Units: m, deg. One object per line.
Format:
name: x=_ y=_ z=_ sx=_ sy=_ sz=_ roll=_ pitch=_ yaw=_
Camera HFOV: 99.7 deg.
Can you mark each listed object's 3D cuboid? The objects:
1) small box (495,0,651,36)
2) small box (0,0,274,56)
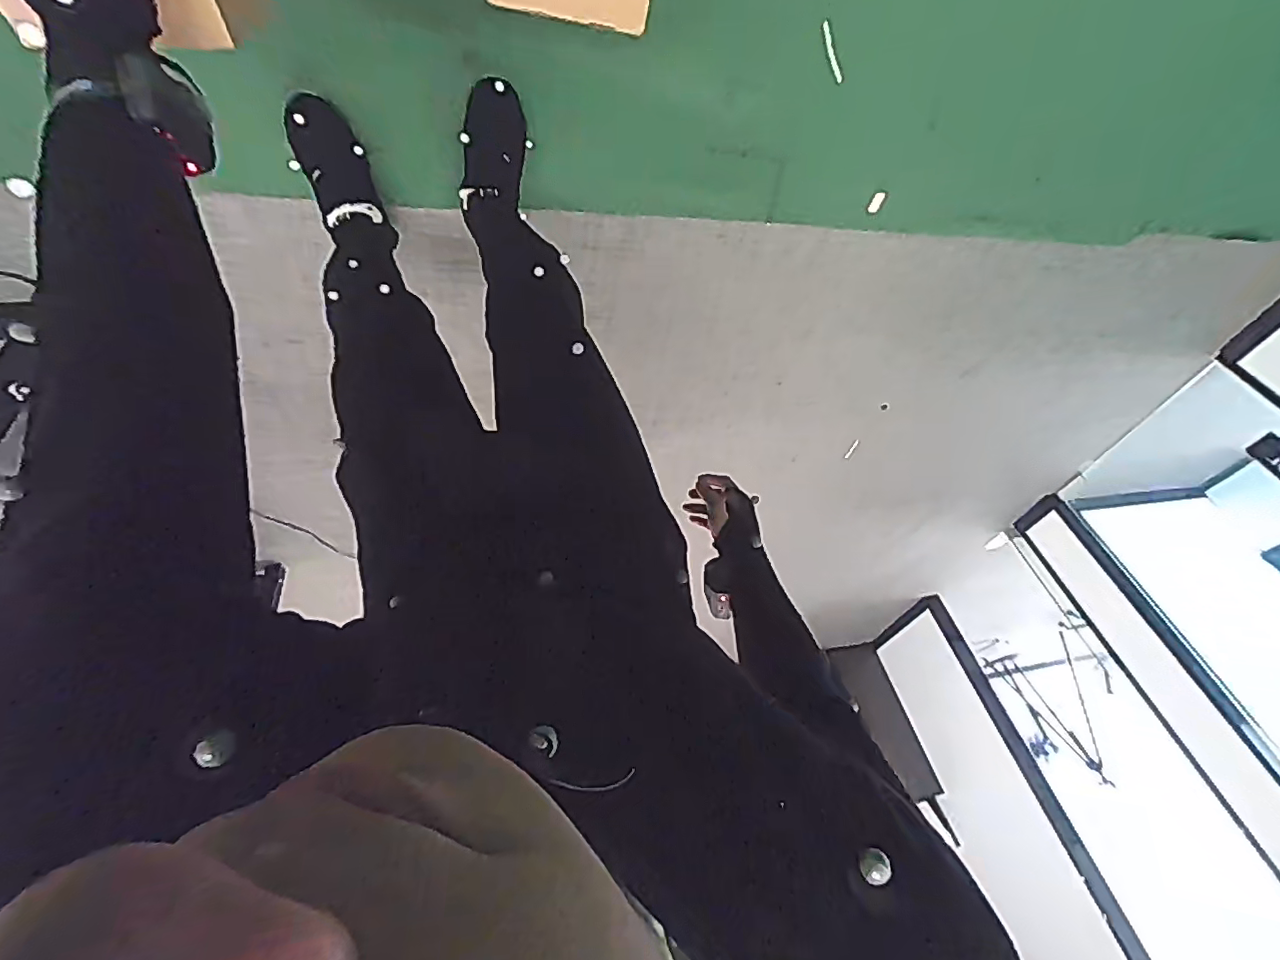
small box: x=-0.071 y=-0.596 z=0.545 sx=0.168 sy=0.176 sz=0.179 roll=-1 pitch=143 yaw=-17
small box: x=-0.456 y=-0.492 z=0.467 sx=0.168 sy=0.176 sz=0.179 roll=-7 pitch=138 yaw=-9
